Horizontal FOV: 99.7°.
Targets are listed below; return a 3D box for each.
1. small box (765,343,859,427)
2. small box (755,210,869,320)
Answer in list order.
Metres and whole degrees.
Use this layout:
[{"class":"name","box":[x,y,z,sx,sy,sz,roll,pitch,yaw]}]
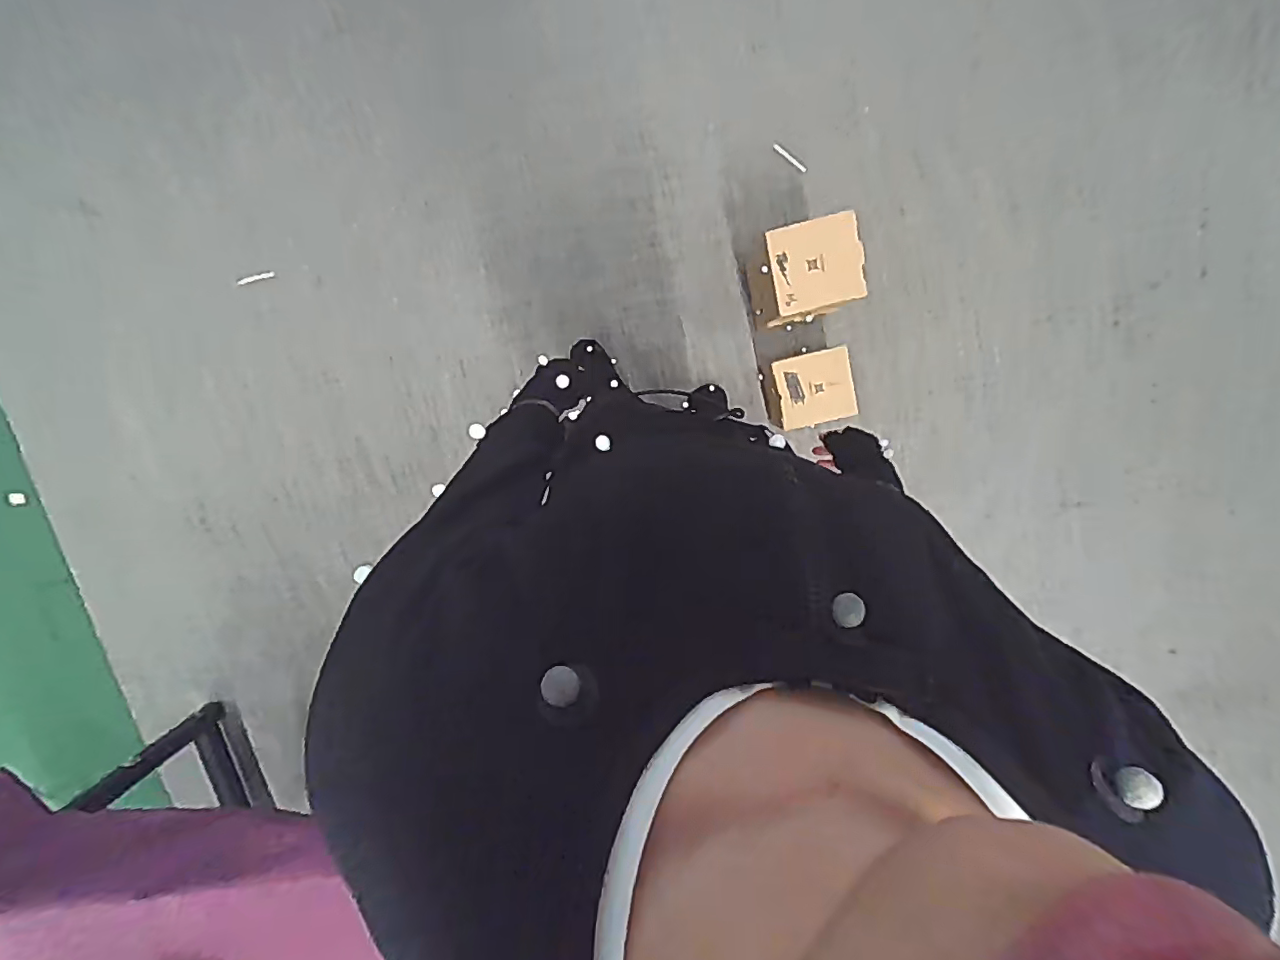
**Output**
[{"class":"small box","box":[0.413,-0.232,1.329,0.179,0.176,0.168,-12,100,5]},{"class":"small box","box":[0.352,-0.439,1.128,0.179,0.176,0.168,-11,100,5]}]
